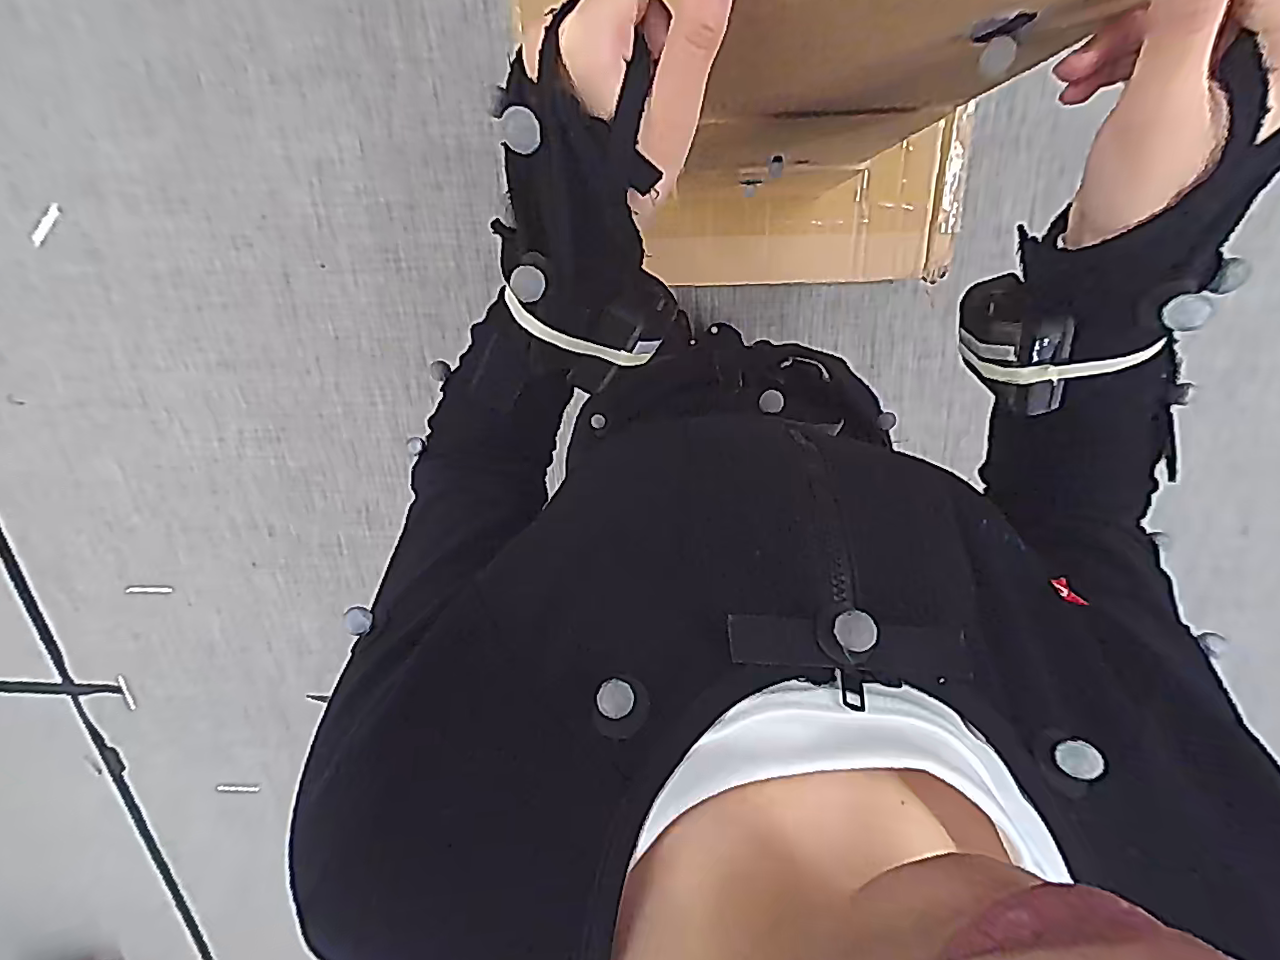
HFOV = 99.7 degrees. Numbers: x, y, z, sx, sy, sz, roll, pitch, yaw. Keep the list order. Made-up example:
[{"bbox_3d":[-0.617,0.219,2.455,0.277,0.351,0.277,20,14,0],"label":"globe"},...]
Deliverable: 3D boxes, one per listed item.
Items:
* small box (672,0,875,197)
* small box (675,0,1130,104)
[{"bbox_3d":[0.121,-0.384,0.535,0.179,0.176,0.168,0,110,3],"label":"small box"},{"bbox_3d":[0.104,-0.276,0.224,0.179,0.176,0.168,0,111,4],"label":"small box"}]
